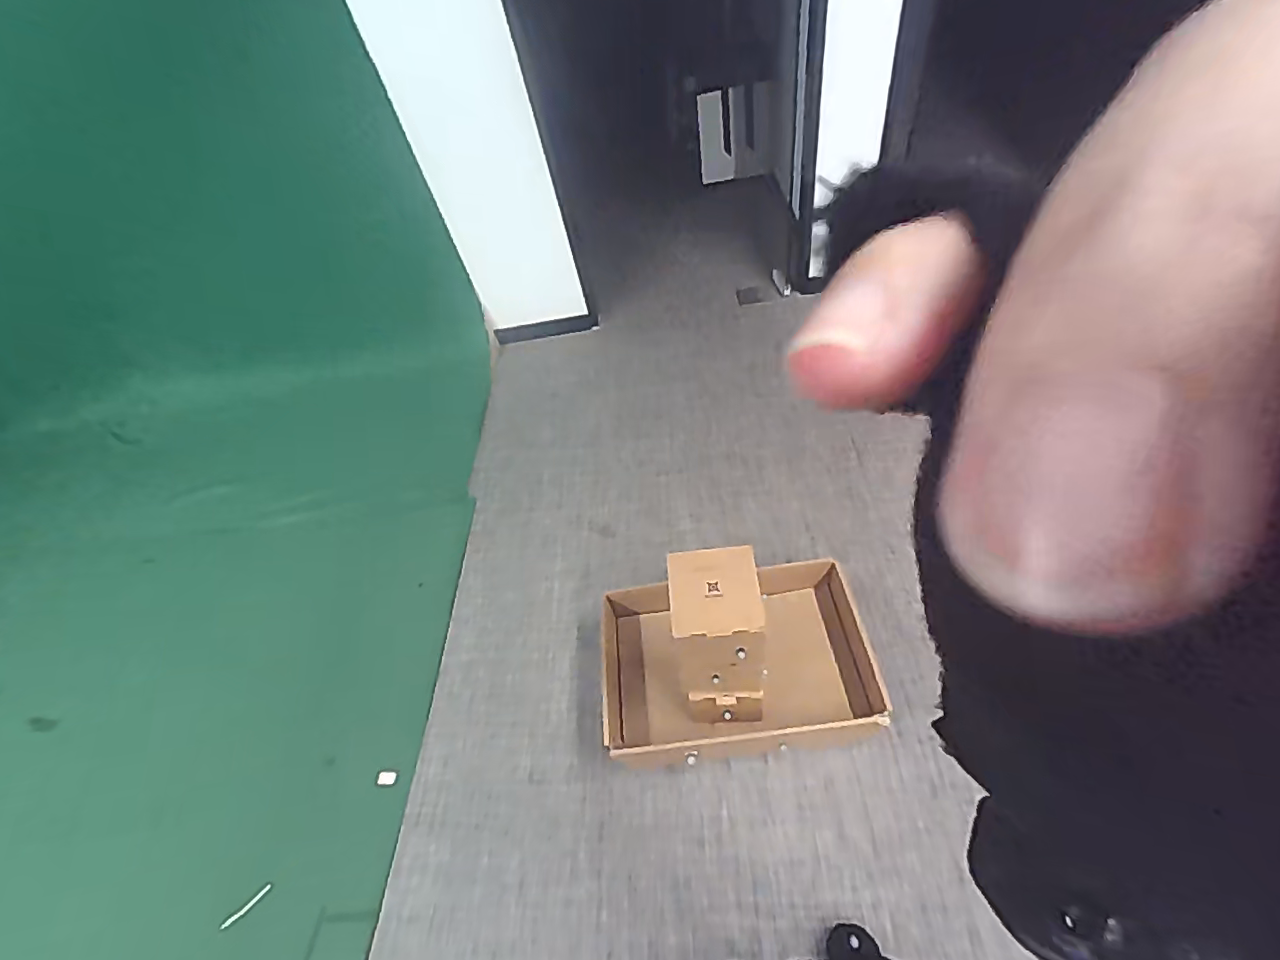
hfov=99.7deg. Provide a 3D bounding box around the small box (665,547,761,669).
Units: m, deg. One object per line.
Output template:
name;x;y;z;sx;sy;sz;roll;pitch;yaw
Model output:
small box;0.140;0.253;1.046;0.168;0.176;0.179;-5;48;5

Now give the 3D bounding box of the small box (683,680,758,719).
small box;0.193;0.462;1.292;0.168;0.176;0.179;-4;50;8

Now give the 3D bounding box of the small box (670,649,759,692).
small box;0.164;0.349;1.174;0.179;0.176;0.168;-3;49;10
